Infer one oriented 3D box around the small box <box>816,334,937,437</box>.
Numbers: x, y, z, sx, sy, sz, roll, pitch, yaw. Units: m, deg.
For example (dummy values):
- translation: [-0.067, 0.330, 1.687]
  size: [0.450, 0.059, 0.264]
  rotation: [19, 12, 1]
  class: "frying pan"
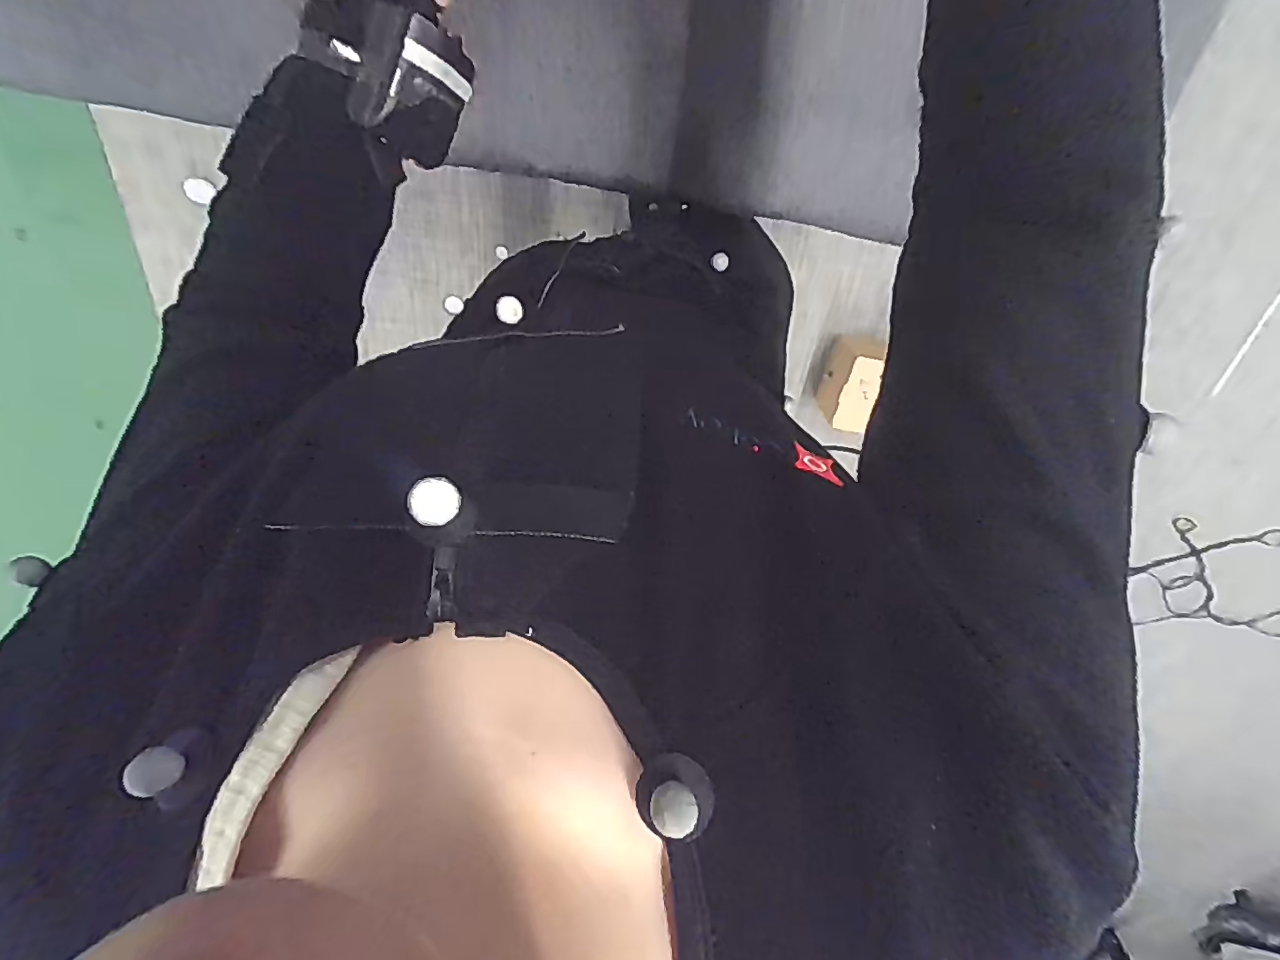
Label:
- translation: [0.518, -0.217, 1.212]
  size: [0.179, 0.176, 0.168]
  rotation: [10, 120, -1]
  class: "small box"
